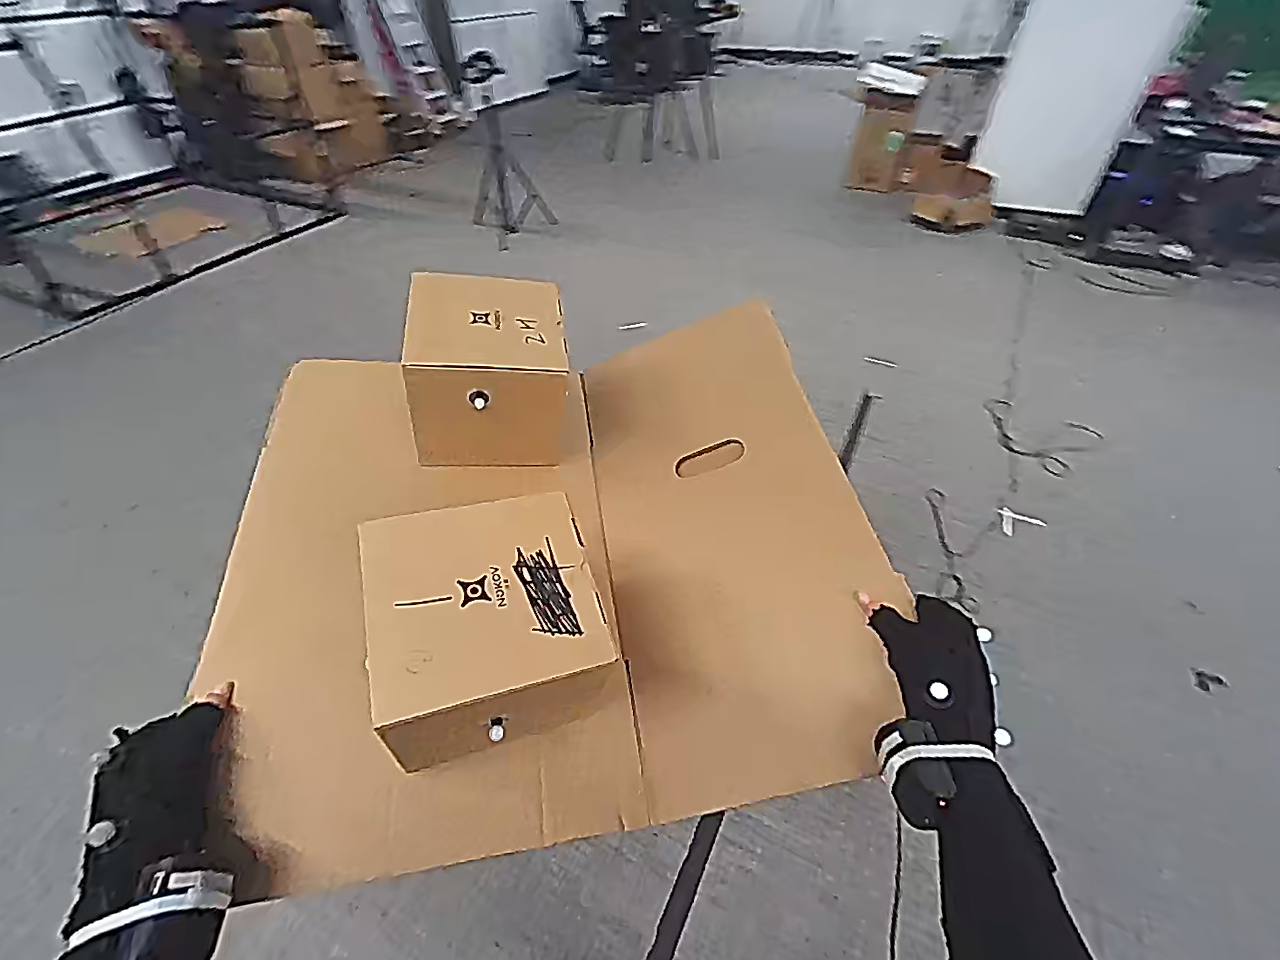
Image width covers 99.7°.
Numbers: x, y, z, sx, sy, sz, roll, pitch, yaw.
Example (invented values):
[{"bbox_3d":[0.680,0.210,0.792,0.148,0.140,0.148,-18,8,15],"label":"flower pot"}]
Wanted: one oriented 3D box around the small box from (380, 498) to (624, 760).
[{"bbox_3d":[-0.132,0.139,0.502,0.179,0.176,0.168,-8,56,-20],"label":"small box"}]
